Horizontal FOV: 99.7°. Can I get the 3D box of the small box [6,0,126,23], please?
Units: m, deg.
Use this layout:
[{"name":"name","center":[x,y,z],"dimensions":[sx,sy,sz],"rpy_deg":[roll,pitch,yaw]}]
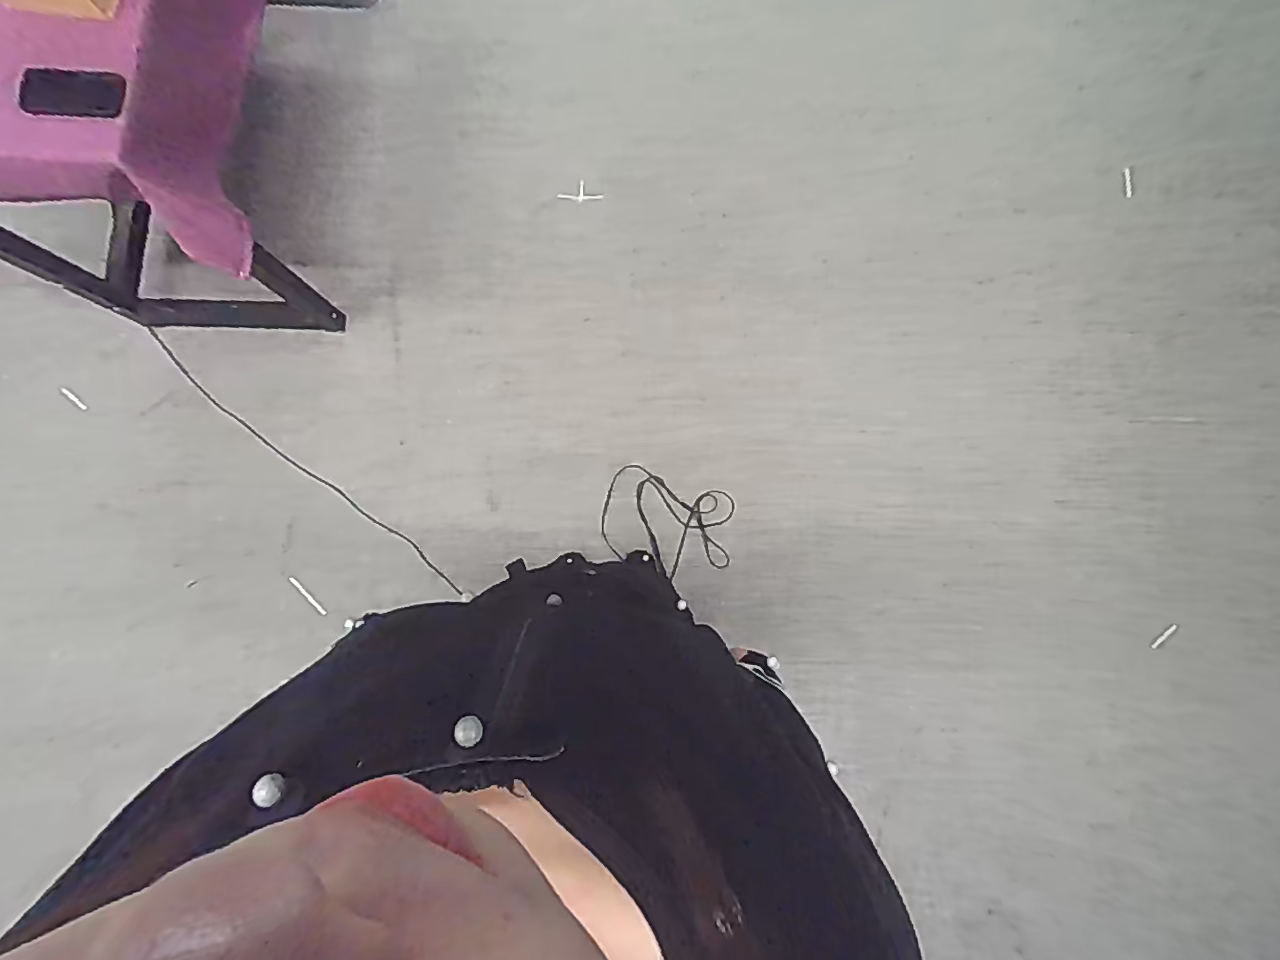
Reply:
[{"name":"small box","center":[-0.939,-0.854,0.828],"dimensions":[0.179,0.176,0.168],"rpy_deg":[6,82,-1]}]
